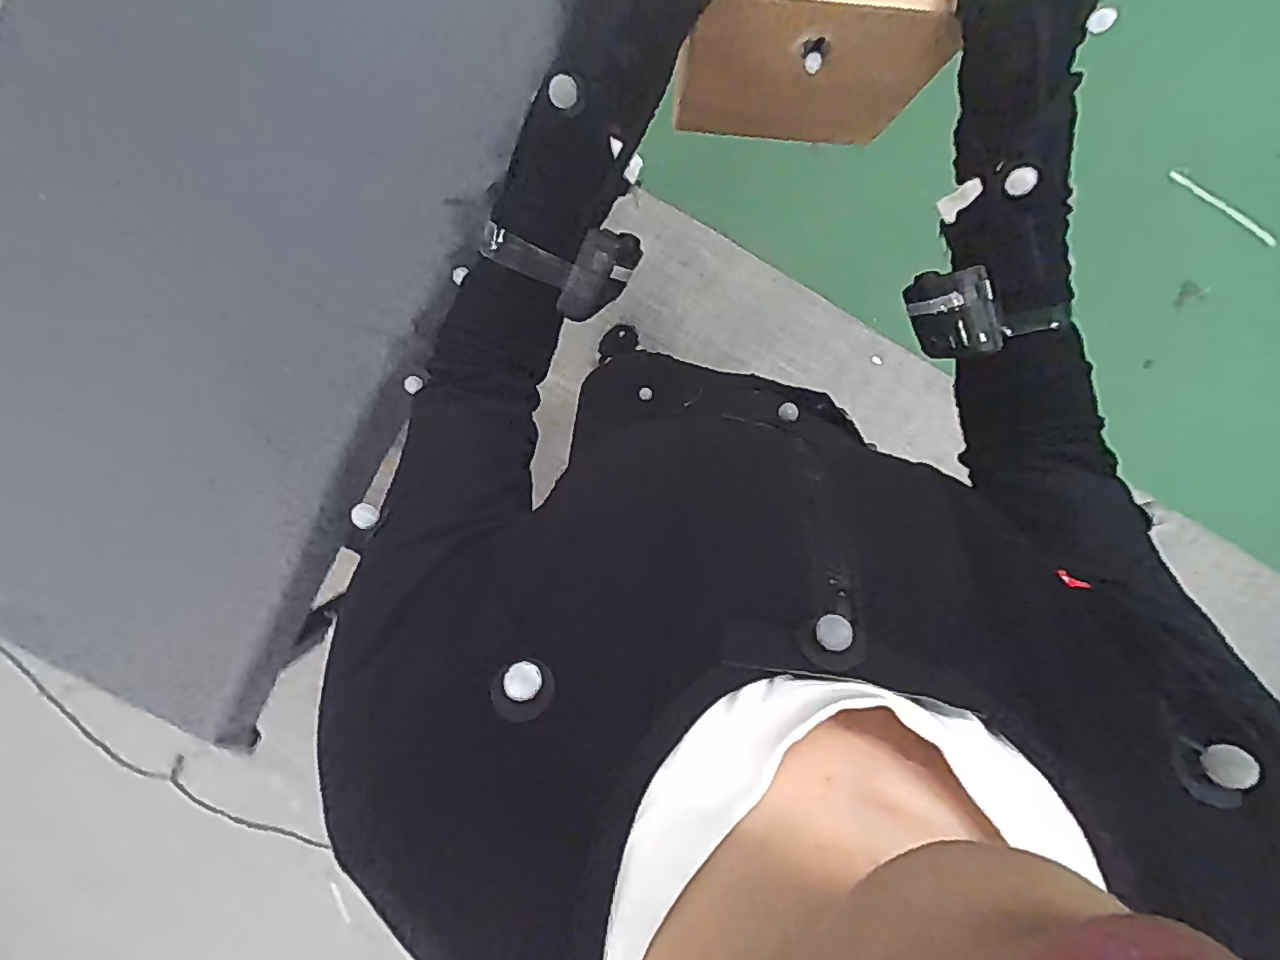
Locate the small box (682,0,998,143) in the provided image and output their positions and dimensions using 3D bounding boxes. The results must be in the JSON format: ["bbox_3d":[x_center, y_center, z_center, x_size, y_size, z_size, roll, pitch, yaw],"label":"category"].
[{"bbox_3d":[0.129,-0.371,0.387,0.179,0.176,0.168,4,99,-4],"label":"small box"}]

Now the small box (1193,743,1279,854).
[{"bbox_3d":[1.594,0.820,1.384,0.168,0.176,0.179,21,100,-2],"label":"small box"}]
